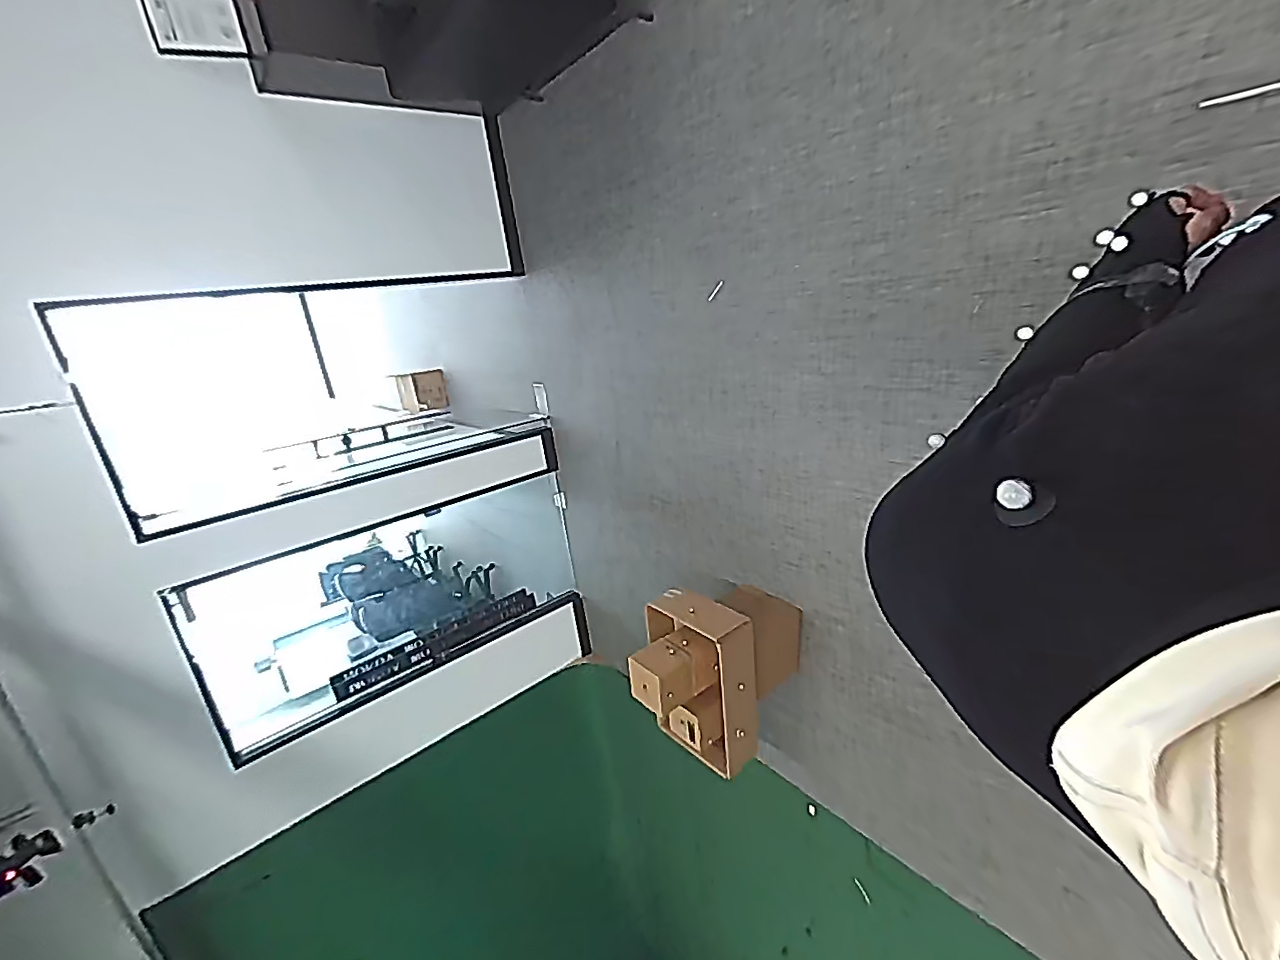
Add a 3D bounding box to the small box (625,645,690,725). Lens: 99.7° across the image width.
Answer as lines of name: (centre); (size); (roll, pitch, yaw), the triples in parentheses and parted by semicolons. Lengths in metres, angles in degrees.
small box: (0.067, 0.732, 1.945); (0.168, 0.176, 0.179); (17, 117, 46)
